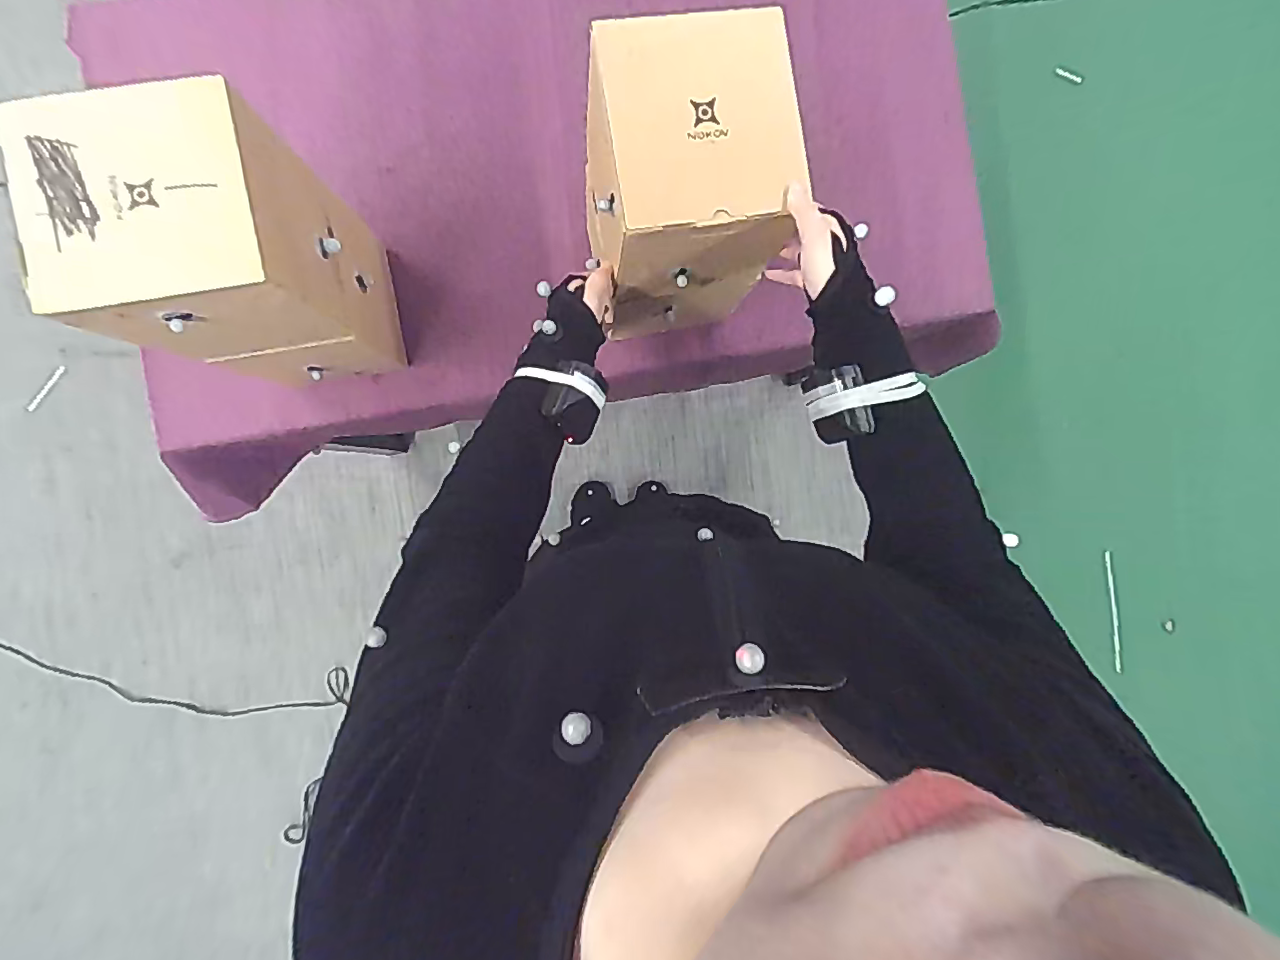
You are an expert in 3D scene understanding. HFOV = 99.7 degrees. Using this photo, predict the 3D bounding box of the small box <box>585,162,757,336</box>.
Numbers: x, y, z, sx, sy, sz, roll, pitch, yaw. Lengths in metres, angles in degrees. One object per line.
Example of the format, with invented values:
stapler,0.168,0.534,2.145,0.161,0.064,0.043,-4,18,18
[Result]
small box,0.032,-0.295,0.694,0.179,0.176,0.168,-11,91,-4

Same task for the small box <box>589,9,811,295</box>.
small box,0.044,-0.302,0.530,0.168,0.176,0.179,-10,92,-6

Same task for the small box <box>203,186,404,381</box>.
small box,-0.410,-0.225,0.666,0.168,0.176,0.179,-10,91,-4

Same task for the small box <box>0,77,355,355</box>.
small box,-0.400,-0.223,0.501,0.179,0.176,0.168,-11,91,-4
